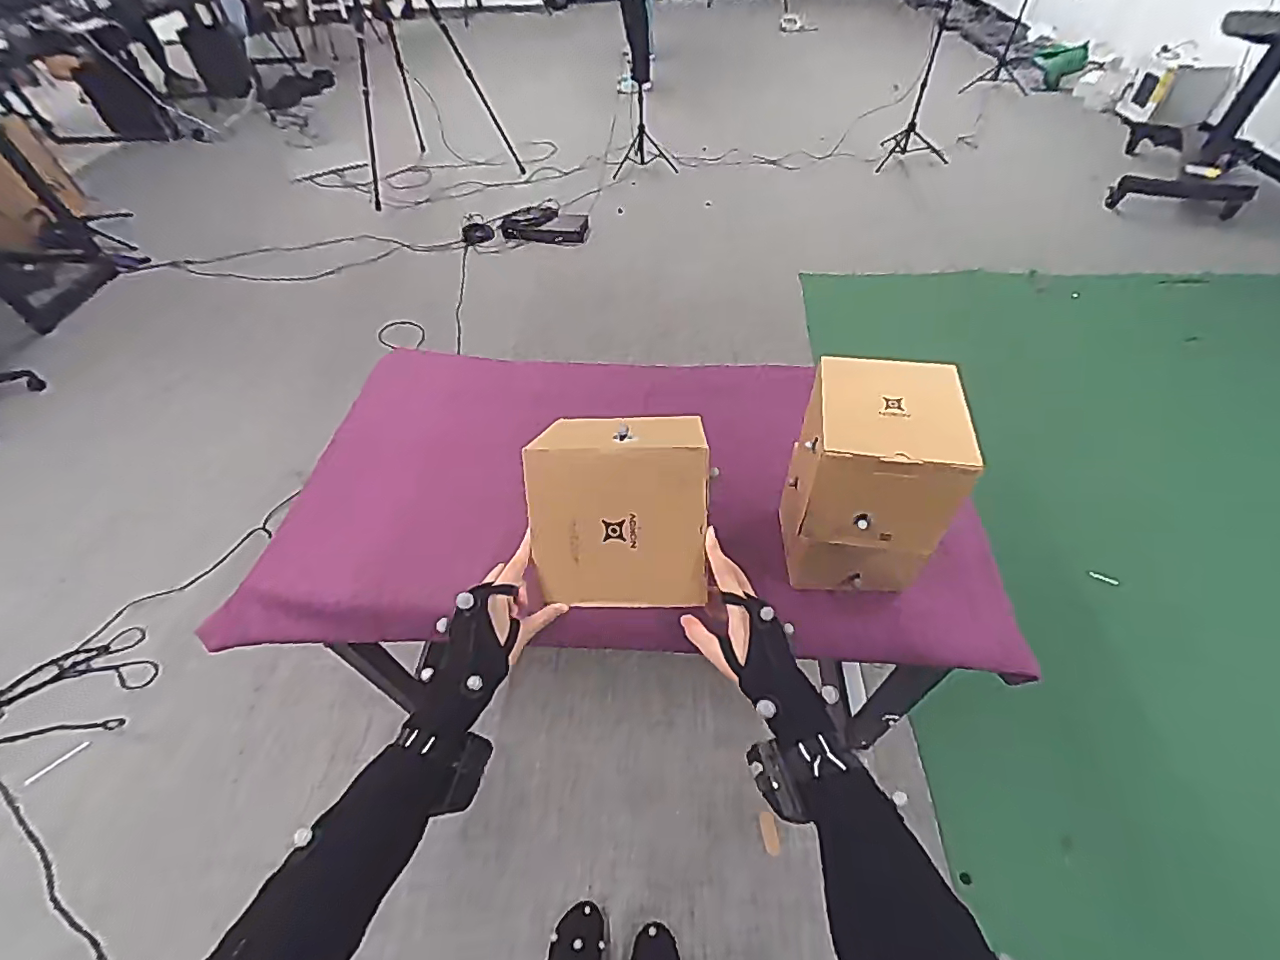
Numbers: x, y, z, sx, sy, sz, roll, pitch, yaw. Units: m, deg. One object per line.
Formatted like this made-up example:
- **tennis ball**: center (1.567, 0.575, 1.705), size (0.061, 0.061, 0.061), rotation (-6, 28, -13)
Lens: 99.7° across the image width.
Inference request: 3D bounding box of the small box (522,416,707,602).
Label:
- **small box**: center (-0.020, 0.022, 0.598), size (0.179, 0.168, 0.176), rotation (-1, 14, 4)

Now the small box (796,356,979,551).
- **small box**: center (0.296, -0.034, 0.693), size (0.168, 0.176, 0.179), rotation (6, 50, 9)

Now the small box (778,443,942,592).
- **small box**: center (0.319, 0.058, 0.827), size (0.179, 0.176, 0.168), rotation (0, 48, 4)
